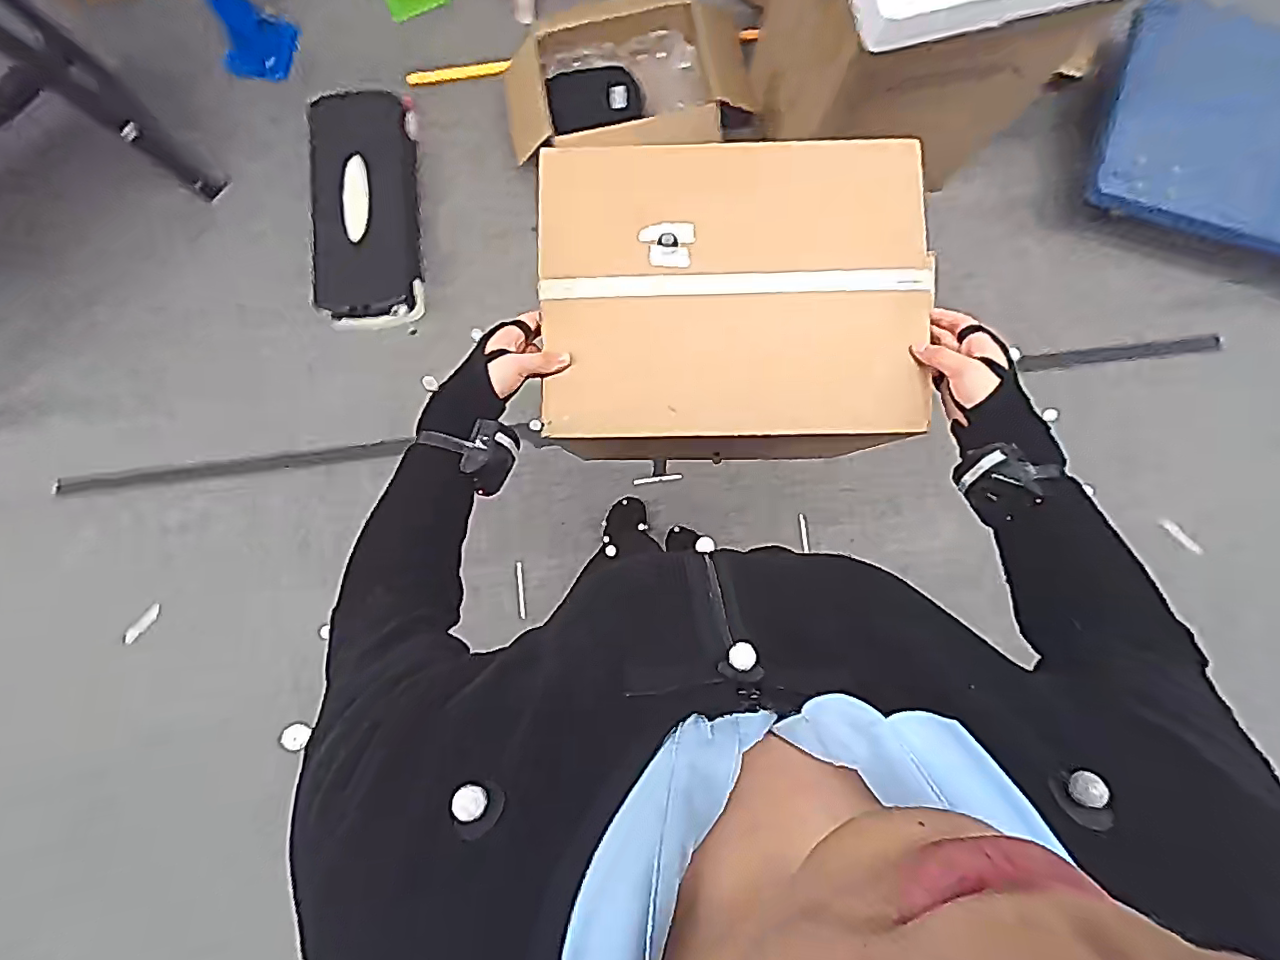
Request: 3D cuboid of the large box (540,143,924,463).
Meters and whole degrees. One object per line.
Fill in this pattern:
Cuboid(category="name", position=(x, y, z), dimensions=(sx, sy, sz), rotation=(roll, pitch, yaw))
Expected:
Cuboid(category="large box", position=(0.101, -0.192, 0.727), dimensions=(0.408, 0.320, 0.320), rotation=(-2, 86, 3))
